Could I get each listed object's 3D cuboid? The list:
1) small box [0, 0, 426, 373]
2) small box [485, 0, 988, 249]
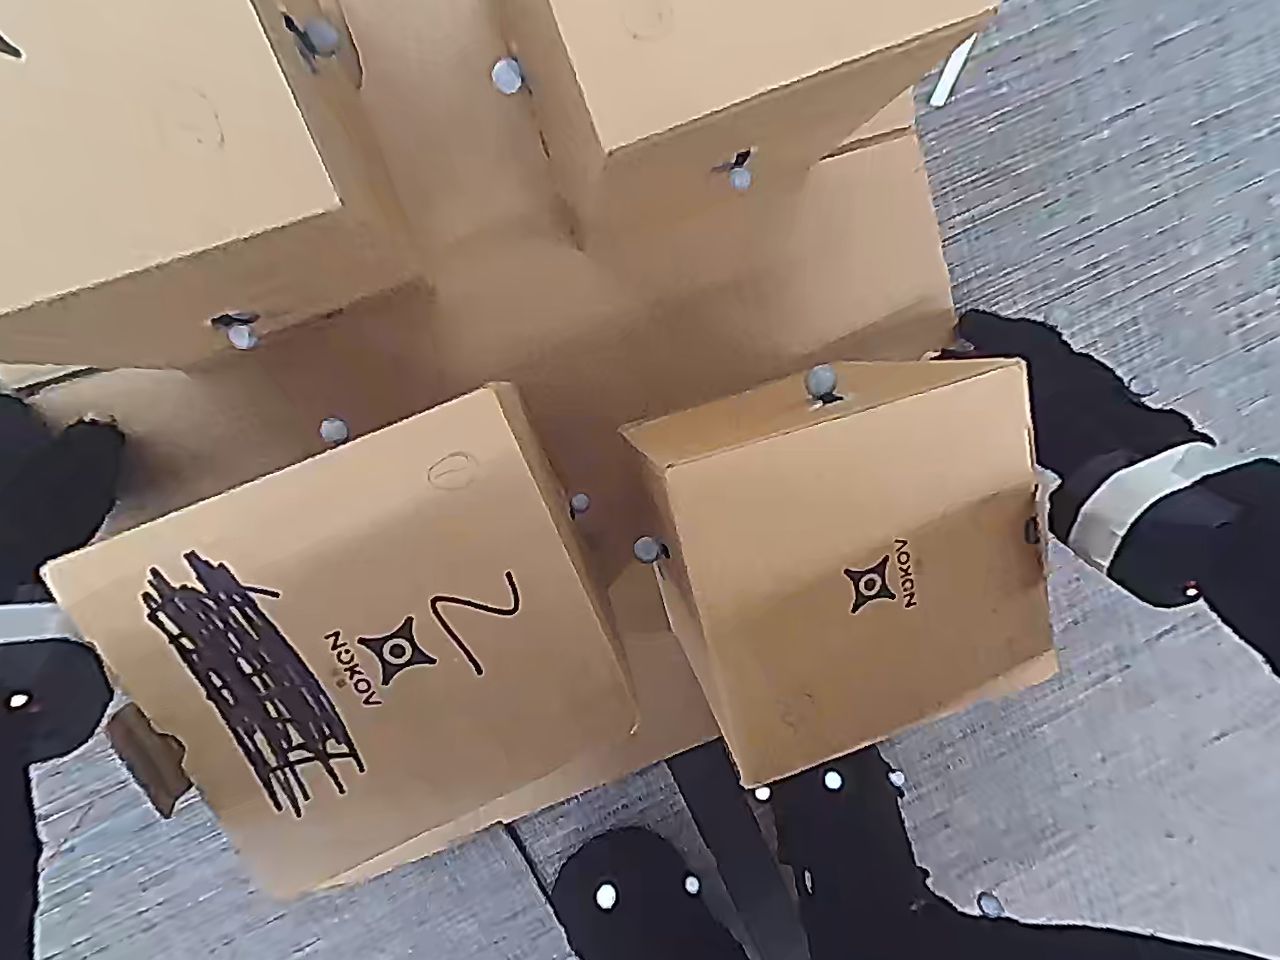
[{"bbox_3d":[-0.222,-0.156,0.250,0.168,0.176,0.179,-20,102,-6],"label":"small box"},{"bbox_3d":[0.023,-0.238,0.271,0.179,0.176,0.168,-21,104,-4],"label":"small box"}]
